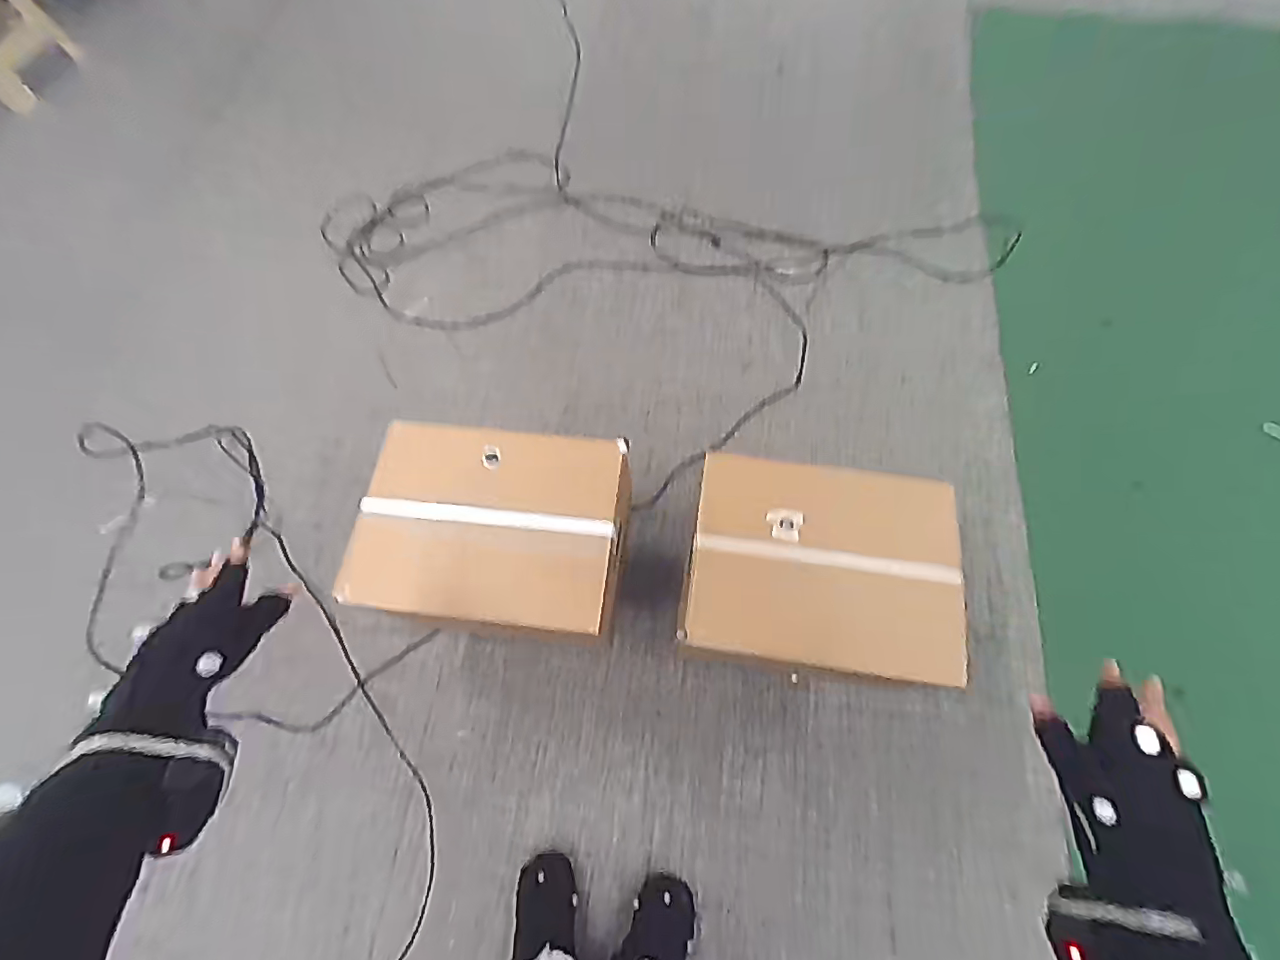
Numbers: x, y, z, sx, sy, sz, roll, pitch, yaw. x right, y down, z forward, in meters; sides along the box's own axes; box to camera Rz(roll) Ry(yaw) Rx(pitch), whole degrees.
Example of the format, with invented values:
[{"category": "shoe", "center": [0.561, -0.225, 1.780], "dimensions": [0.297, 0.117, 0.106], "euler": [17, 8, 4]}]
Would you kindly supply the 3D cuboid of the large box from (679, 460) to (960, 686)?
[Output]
[{"category": "large box", "center": [0.294, 0.182, 0.983], "dimensions": [0.408, 0.320, 0.320], "euler": [8, 69, 5]}]
